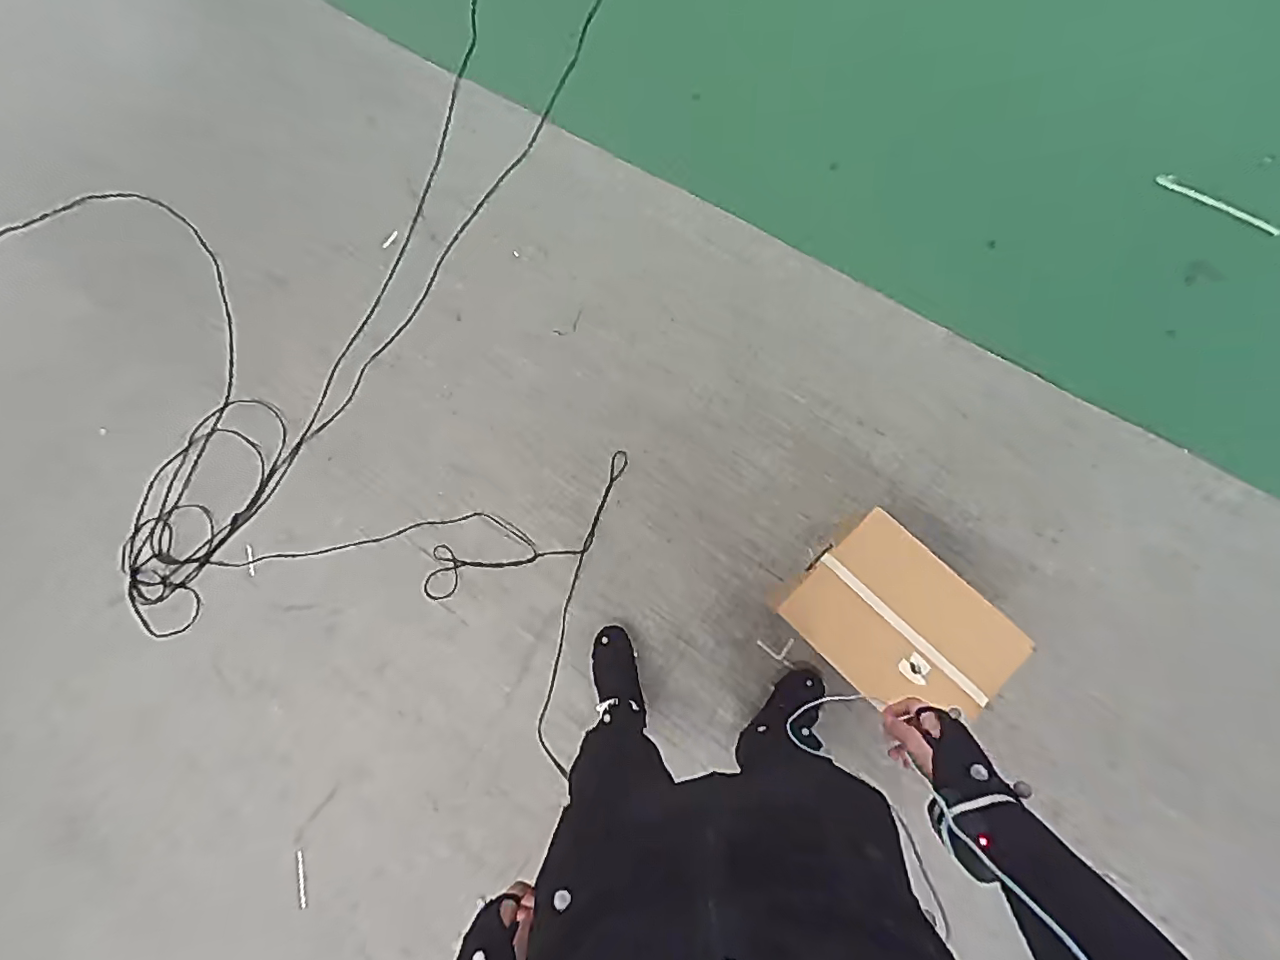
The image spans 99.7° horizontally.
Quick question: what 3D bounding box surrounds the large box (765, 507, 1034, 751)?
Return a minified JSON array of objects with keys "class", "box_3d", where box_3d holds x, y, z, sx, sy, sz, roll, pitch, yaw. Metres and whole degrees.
[{"class":"large box","box_3d":[0.551,0.319,1.246,0.408,0.320,0.320,44,88,12]}]
